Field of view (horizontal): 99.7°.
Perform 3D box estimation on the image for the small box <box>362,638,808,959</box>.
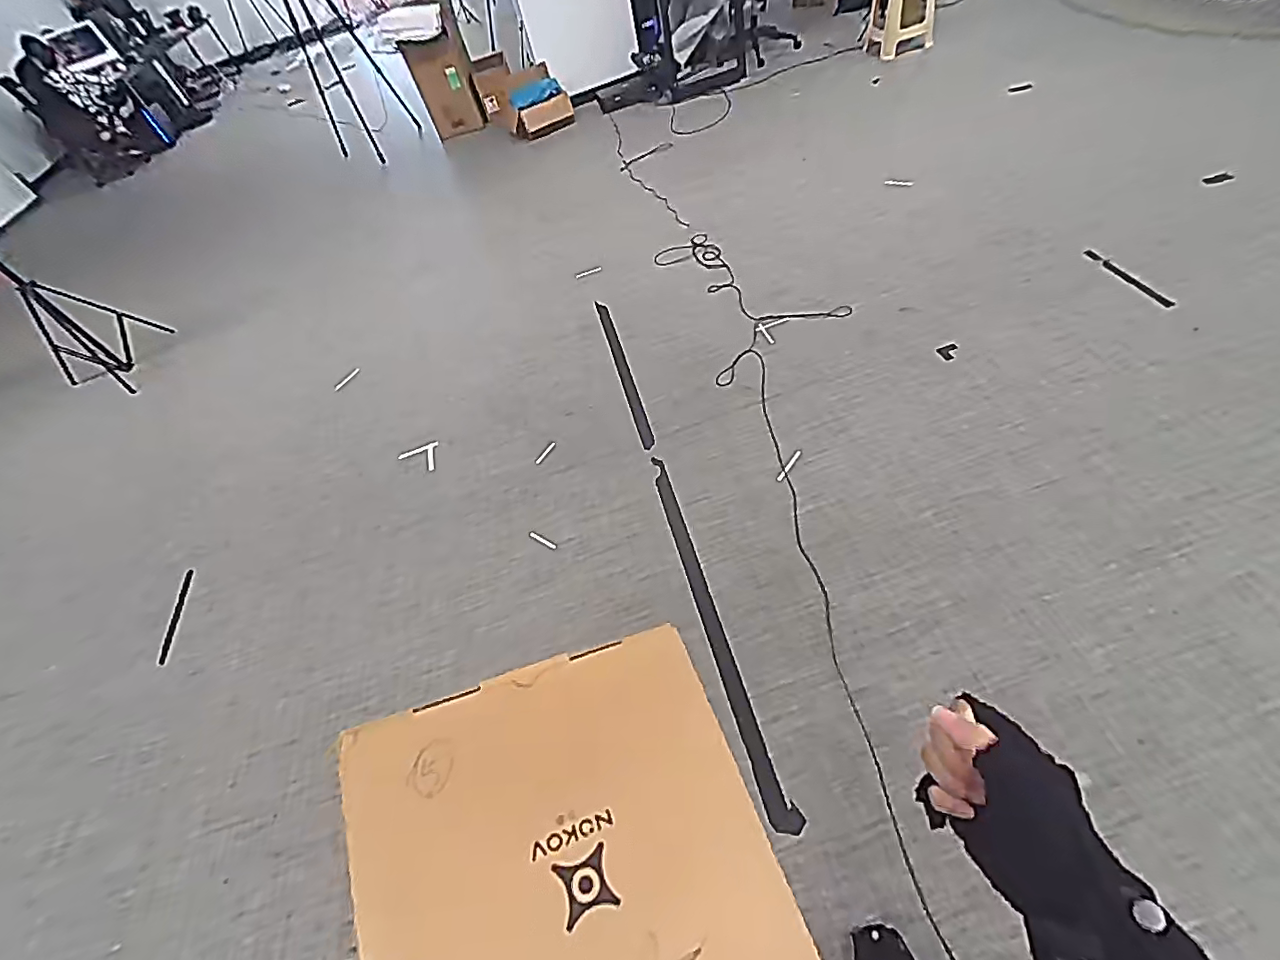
[{"bbox_3d":[-0.043,0.217,0.298,0.168,0.176,0.179,-12,59,-23],"label":"small box"}]
